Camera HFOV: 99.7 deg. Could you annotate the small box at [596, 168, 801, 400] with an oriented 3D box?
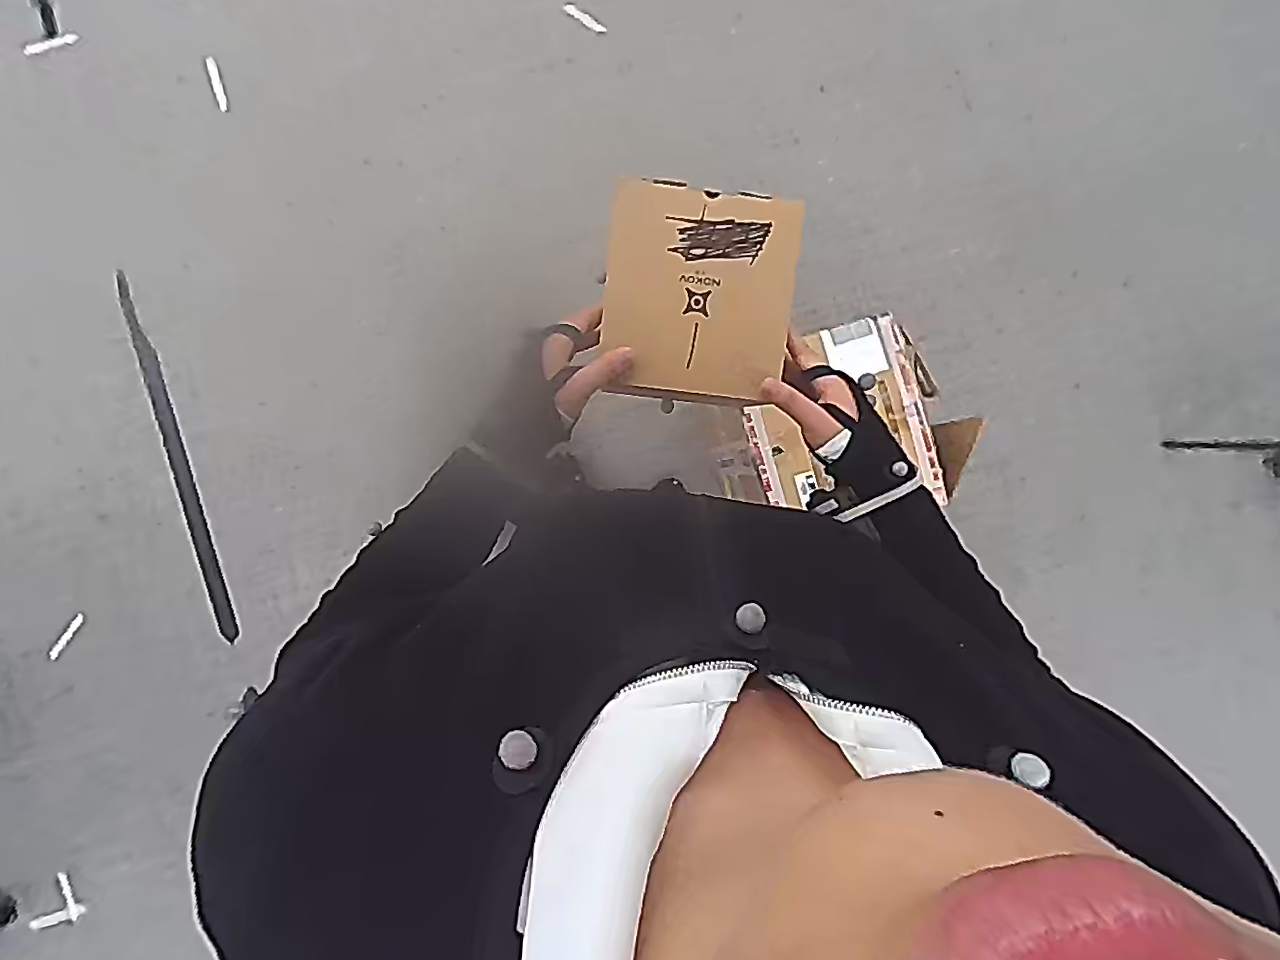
[{"bbox_3d":[0.046,-0.180,0.550,0.168,0.176,0.179,6,96,-3],"label":"small box"}]
